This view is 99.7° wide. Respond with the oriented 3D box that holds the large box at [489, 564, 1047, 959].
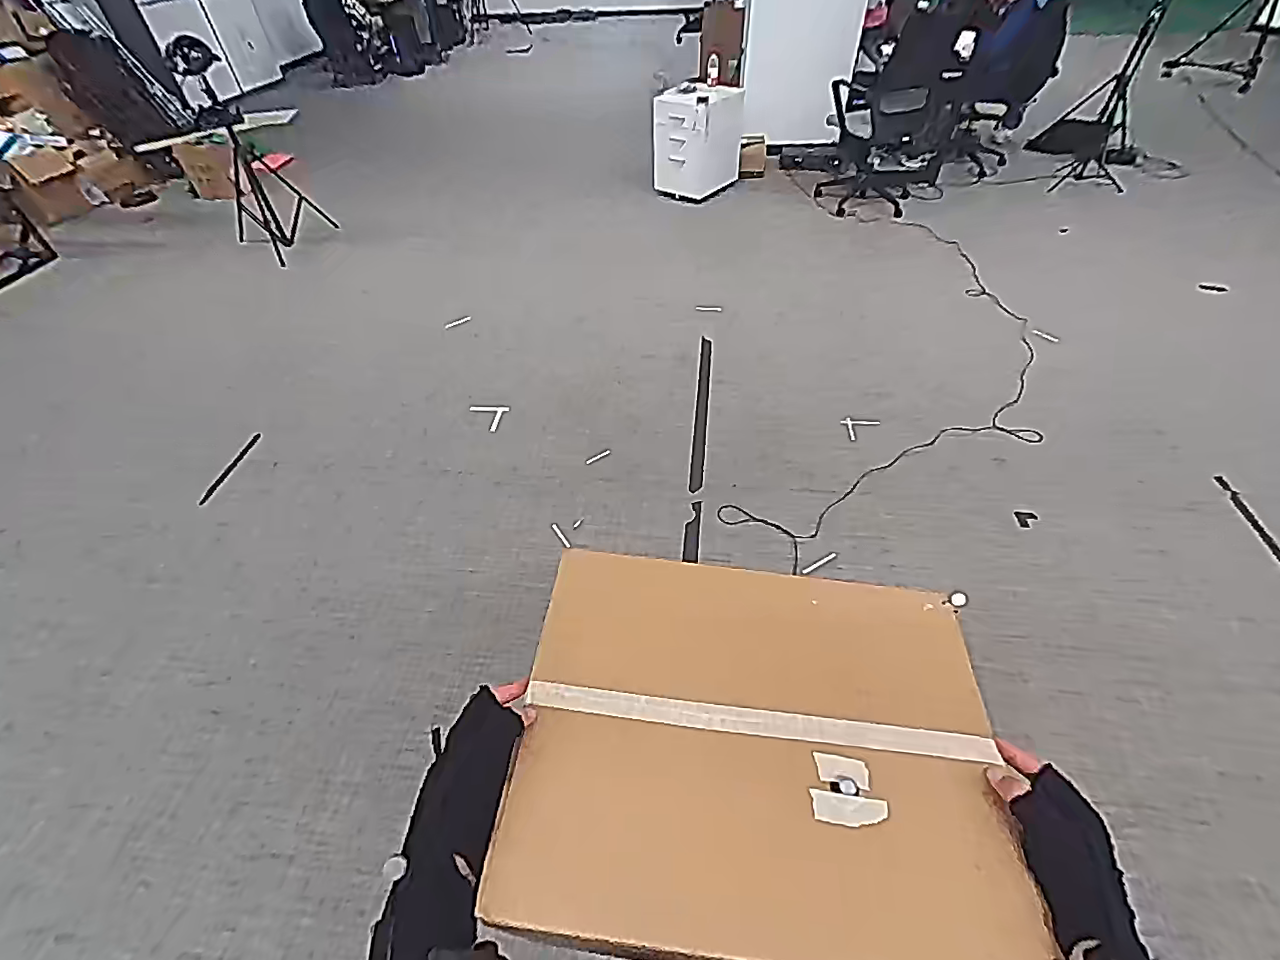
[{"bbox_3d":[0.094,0.322,0.583,0.408,0.320,0.320,7,48,2],"label":"large box"}]
